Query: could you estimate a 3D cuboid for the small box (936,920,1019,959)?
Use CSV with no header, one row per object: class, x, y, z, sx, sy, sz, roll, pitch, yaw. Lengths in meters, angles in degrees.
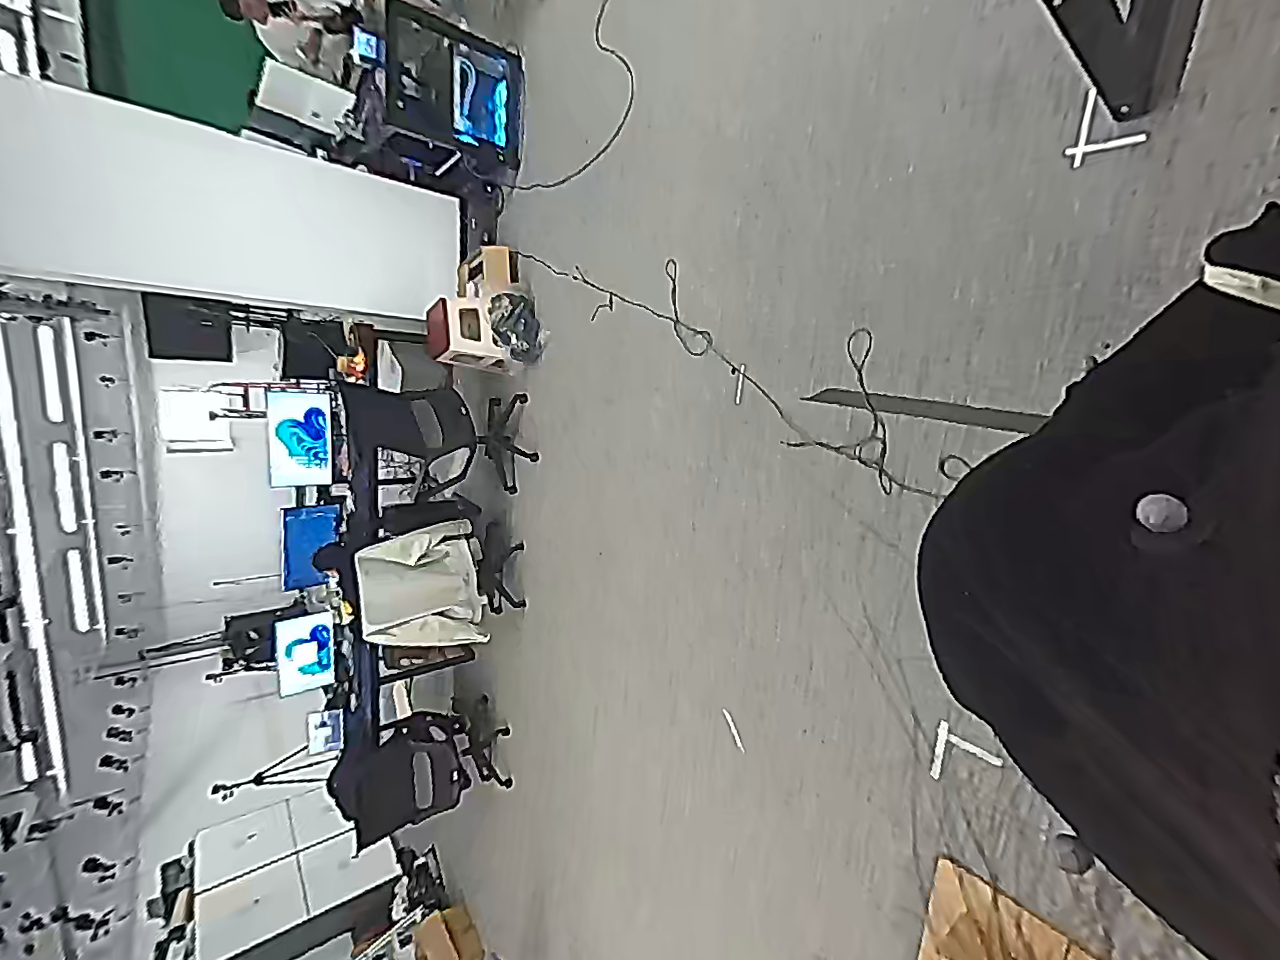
small box,0.855,1.275,1.357,0.168,0.176,0.179,12,103,50
